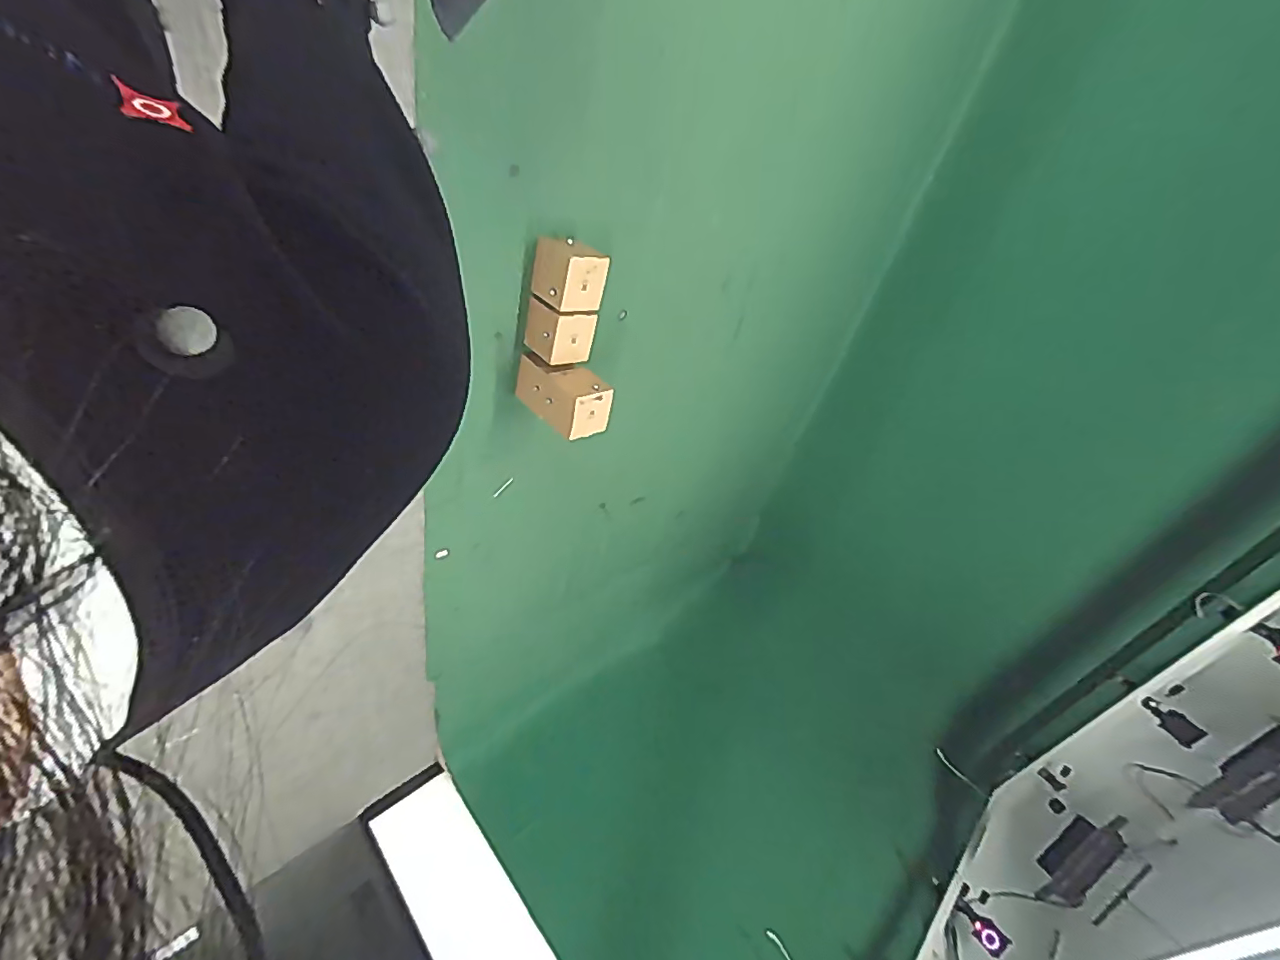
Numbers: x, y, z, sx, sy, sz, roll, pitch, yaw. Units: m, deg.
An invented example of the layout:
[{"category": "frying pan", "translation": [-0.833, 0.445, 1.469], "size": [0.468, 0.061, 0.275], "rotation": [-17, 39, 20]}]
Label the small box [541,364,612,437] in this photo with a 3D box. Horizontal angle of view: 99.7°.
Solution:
[{"category": "small box", "translation": [-0.228, -0.282, 1.897], "size": [0.168, 0.176, 0.179], "rotation": [-22, 142, -40]}]
